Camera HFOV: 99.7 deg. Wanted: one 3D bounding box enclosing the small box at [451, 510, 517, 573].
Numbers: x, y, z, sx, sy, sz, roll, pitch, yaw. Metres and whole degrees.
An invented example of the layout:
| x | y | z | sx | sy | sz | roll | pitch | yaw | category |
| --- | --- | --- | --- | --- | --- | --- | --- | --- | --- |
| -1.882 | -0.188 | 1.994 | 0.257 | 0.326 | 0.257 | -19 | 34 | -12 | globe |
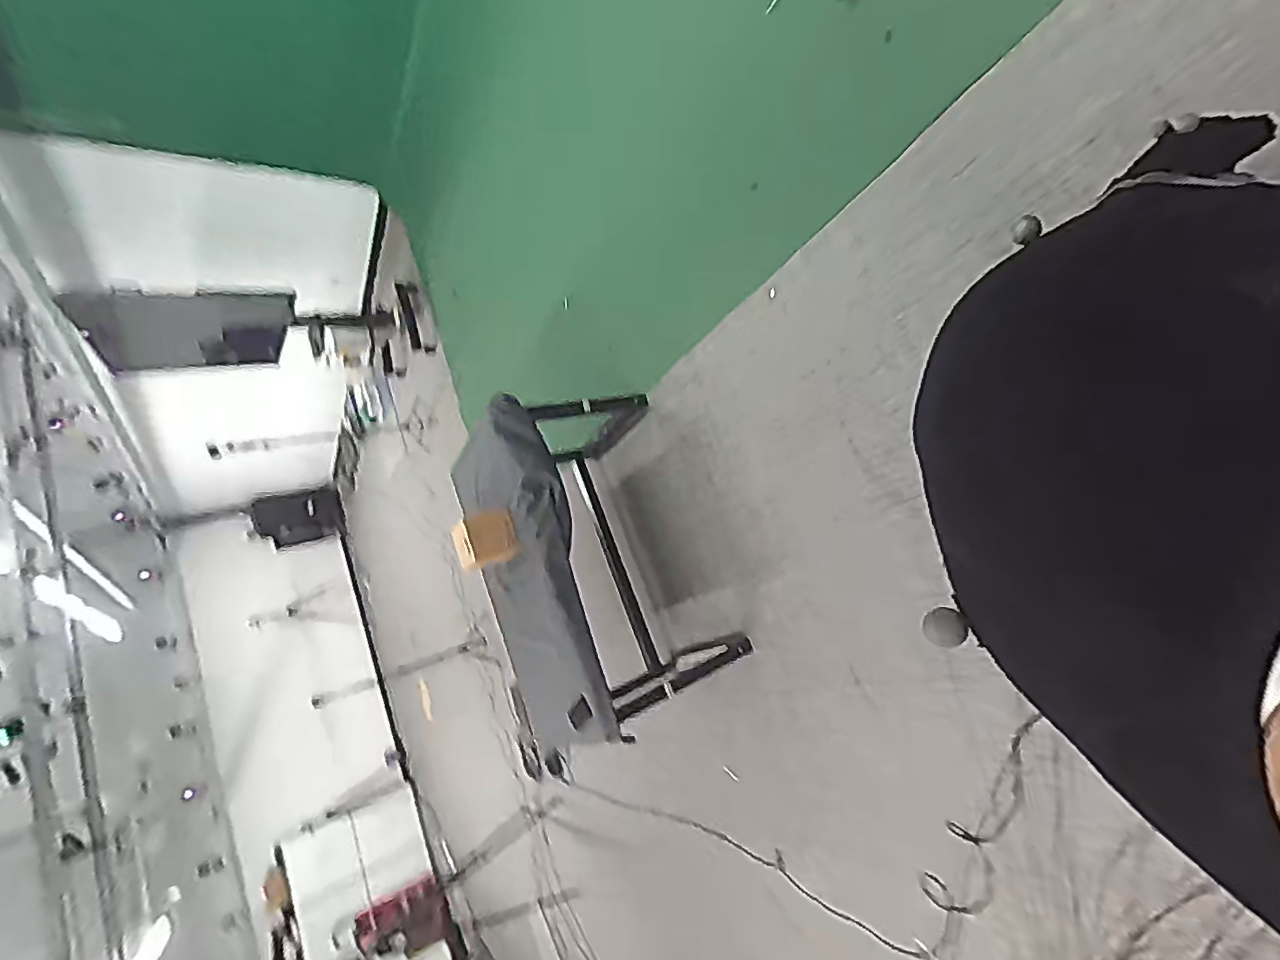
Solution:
| x | y | z | sx | sy | sz | roll | pitch | yaw | category |
| --- | --- | --- | --- | --- | --- | --- | --- | --- | --- |
| -0.564 | 0.223 | 1.972 | 0.179 | 0.176 | 0.168 | -35 | 72 | 52 | small box |
